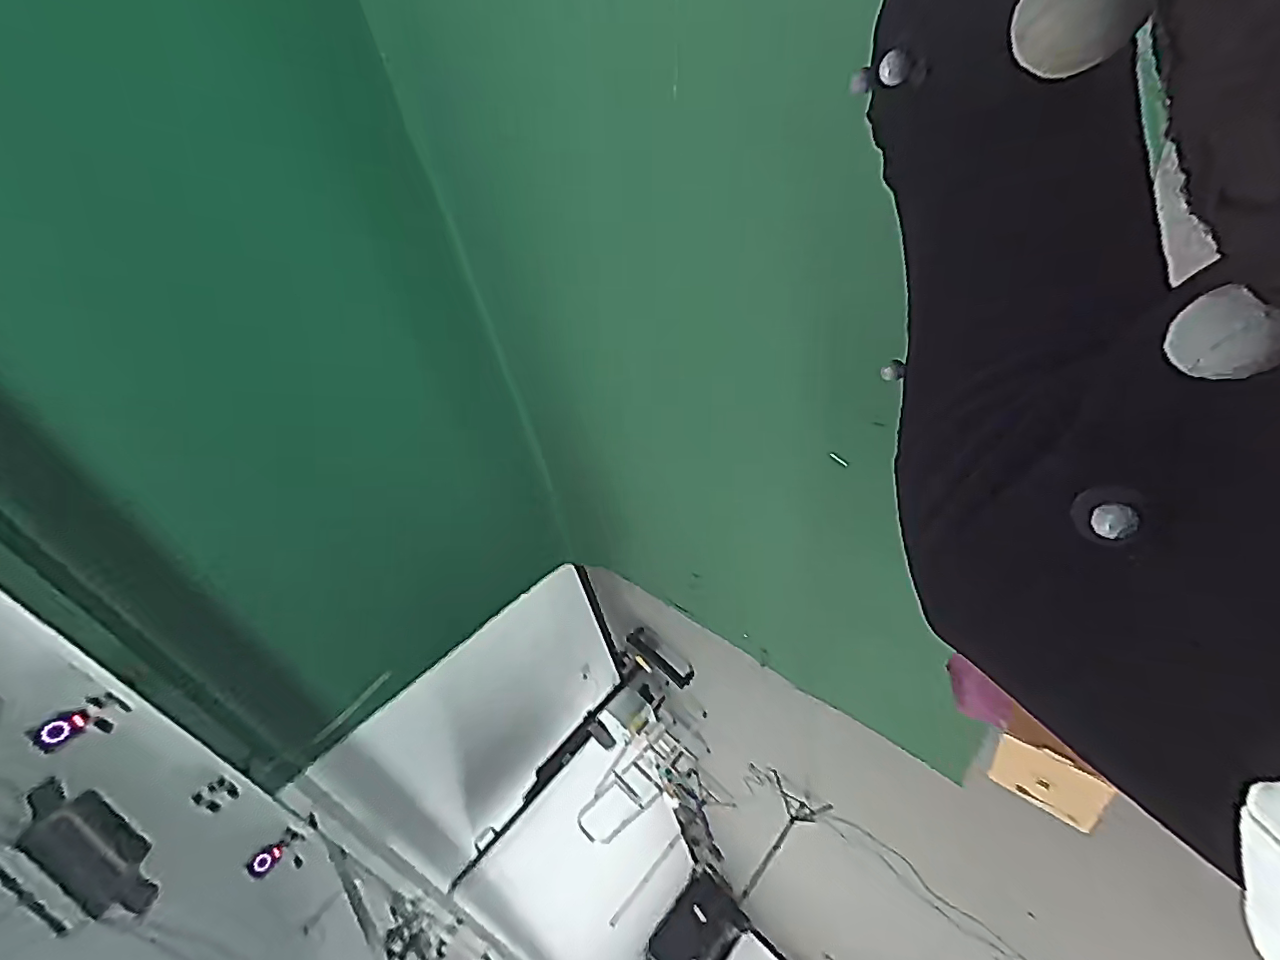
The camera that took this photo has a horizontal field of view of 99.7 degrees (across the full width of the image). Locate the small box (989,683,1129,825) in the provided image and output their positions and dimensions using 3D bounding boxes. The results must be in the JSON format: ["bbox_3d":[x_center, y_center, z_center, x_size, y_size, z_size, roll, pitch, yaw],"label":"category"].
[{"bbox_3d":[0.808,0.504,1.043,0.168,0.176,0.179,22,136,40],"label":"small box"}]
